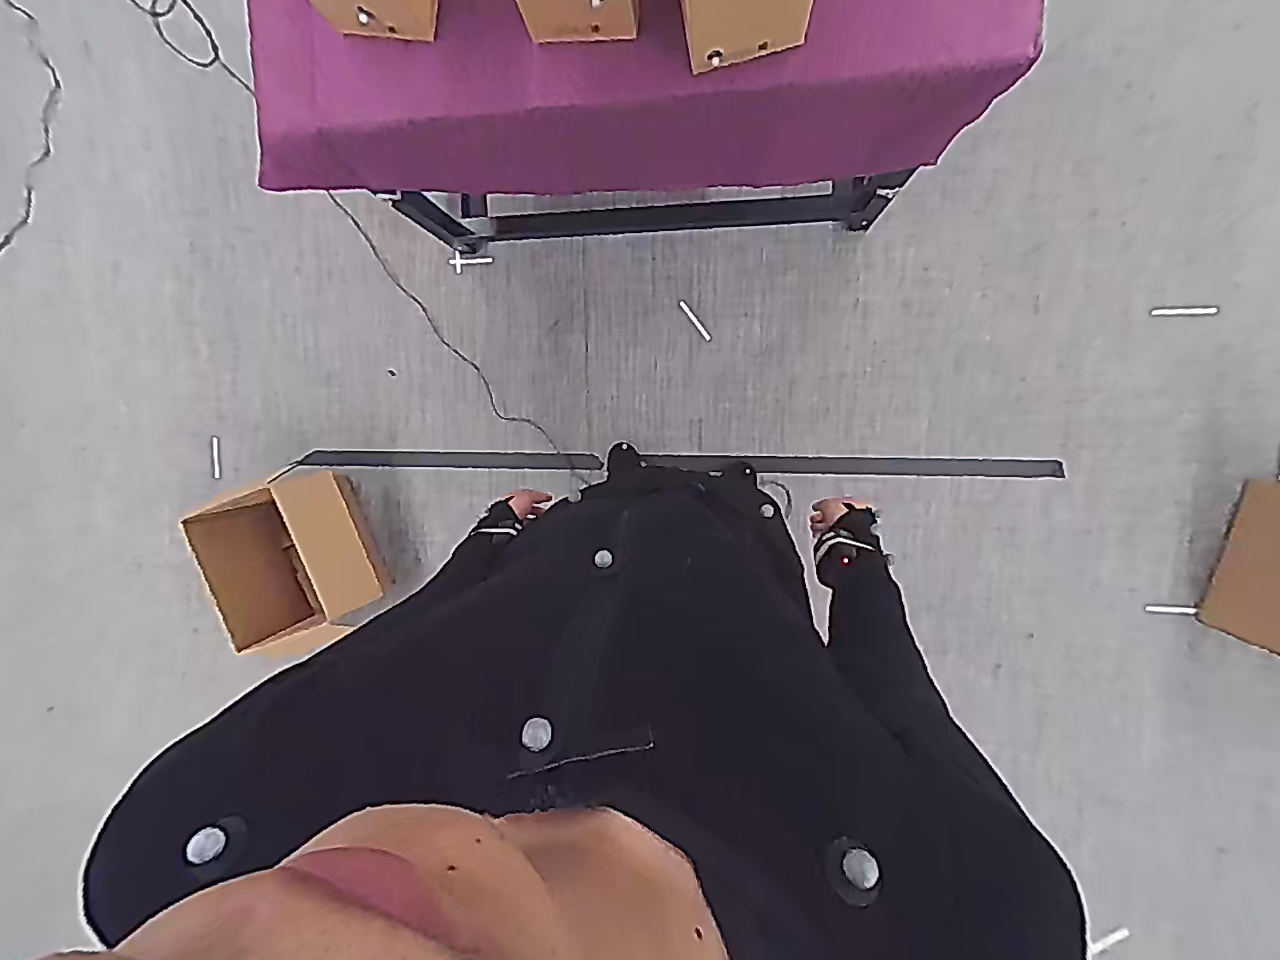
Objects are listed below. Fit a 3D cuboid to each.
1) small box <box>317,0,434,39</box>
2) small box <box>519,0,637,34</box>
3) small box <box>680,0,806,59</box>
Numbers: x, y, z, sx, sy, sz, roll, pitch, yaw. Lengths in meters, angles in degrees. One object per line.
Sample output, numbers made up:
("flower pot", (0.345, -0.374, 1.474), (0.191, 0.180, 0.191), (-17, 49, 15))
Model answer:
("small box", (-0.406, -0.790, 0.775), (0.168, 0.176, 0.179), (10, 97, 6))
("small box", (-0.092, -0.757, 0.742), (0.168, 0.176, 0.179), (4, 96, 6))
("small box", (0.132, -0.707, 0.717), (0.168, 0.176, 0.179), (-10, 93, 8))
